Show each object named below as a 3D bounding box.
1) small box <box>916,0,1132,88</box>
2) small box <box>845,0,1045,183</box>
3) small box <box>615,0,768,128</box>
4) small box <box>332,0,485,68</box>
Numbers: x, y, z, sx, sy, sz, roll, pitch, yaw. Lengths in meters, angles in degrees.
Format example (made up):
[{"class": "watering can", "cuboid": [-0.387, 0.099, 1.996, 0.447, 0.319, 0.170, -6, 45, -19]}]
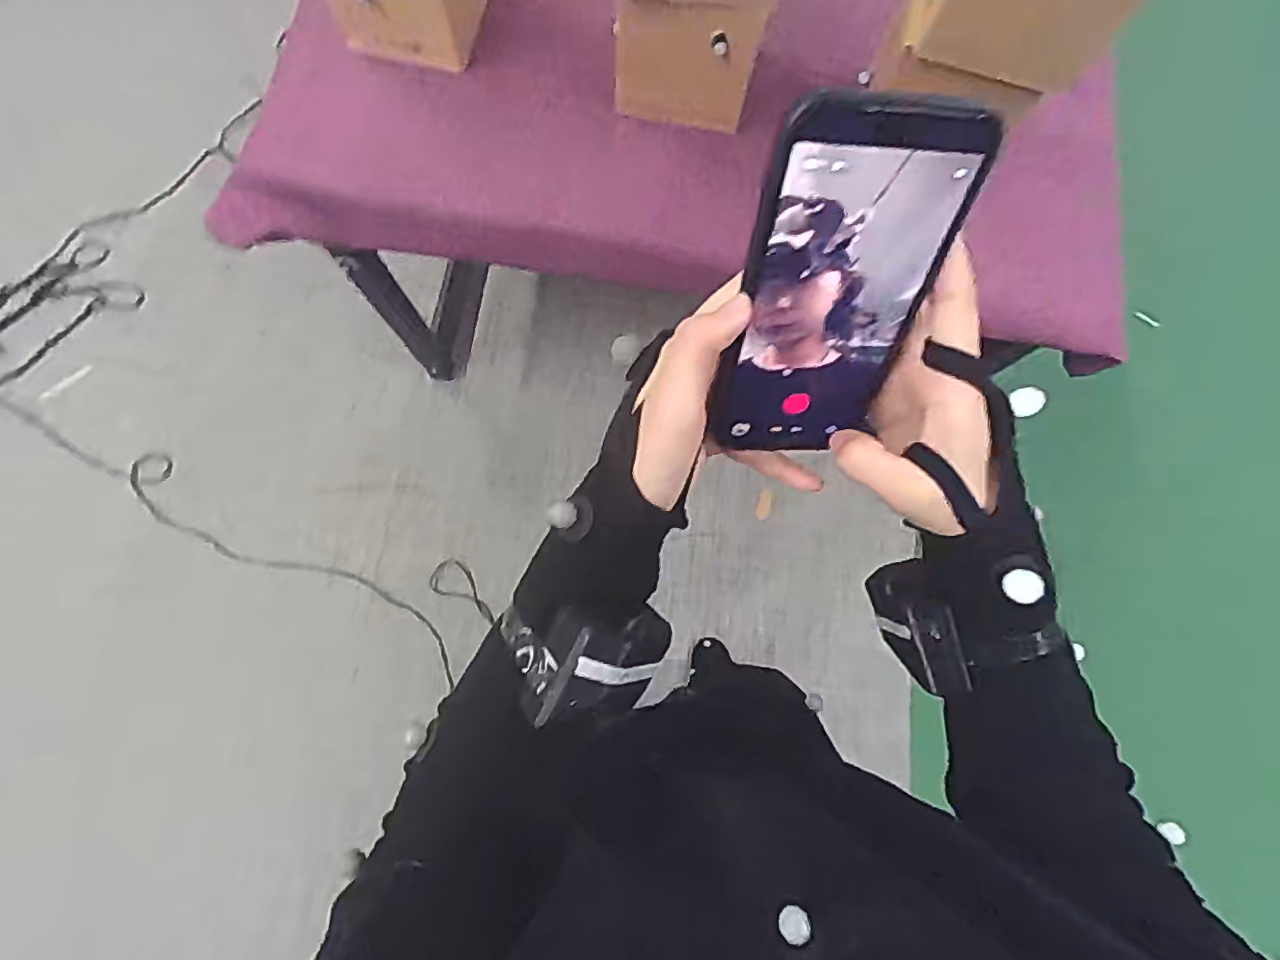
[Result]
[{"class": "small box", "cuboid": [0.413, -0.547, 0.548, 0.179, 0.176, 0.168, 16, 78, 0]}, {"class": "small box", "cuboid": [0.400, -0.530, 0.711, 0.179, 0.176, 0.168, 16, 77, 2]}, {"class": "small box", "cuboid": [0.067, -0.605, 0.709, 0.179, 0.176, 0.168, 10, 78, 0]}, {"class": "small box", "cuboid": [-0.313, -0.695, 0.711, 0.168, 0.176, 0.179, 11, 78, 0]}]
